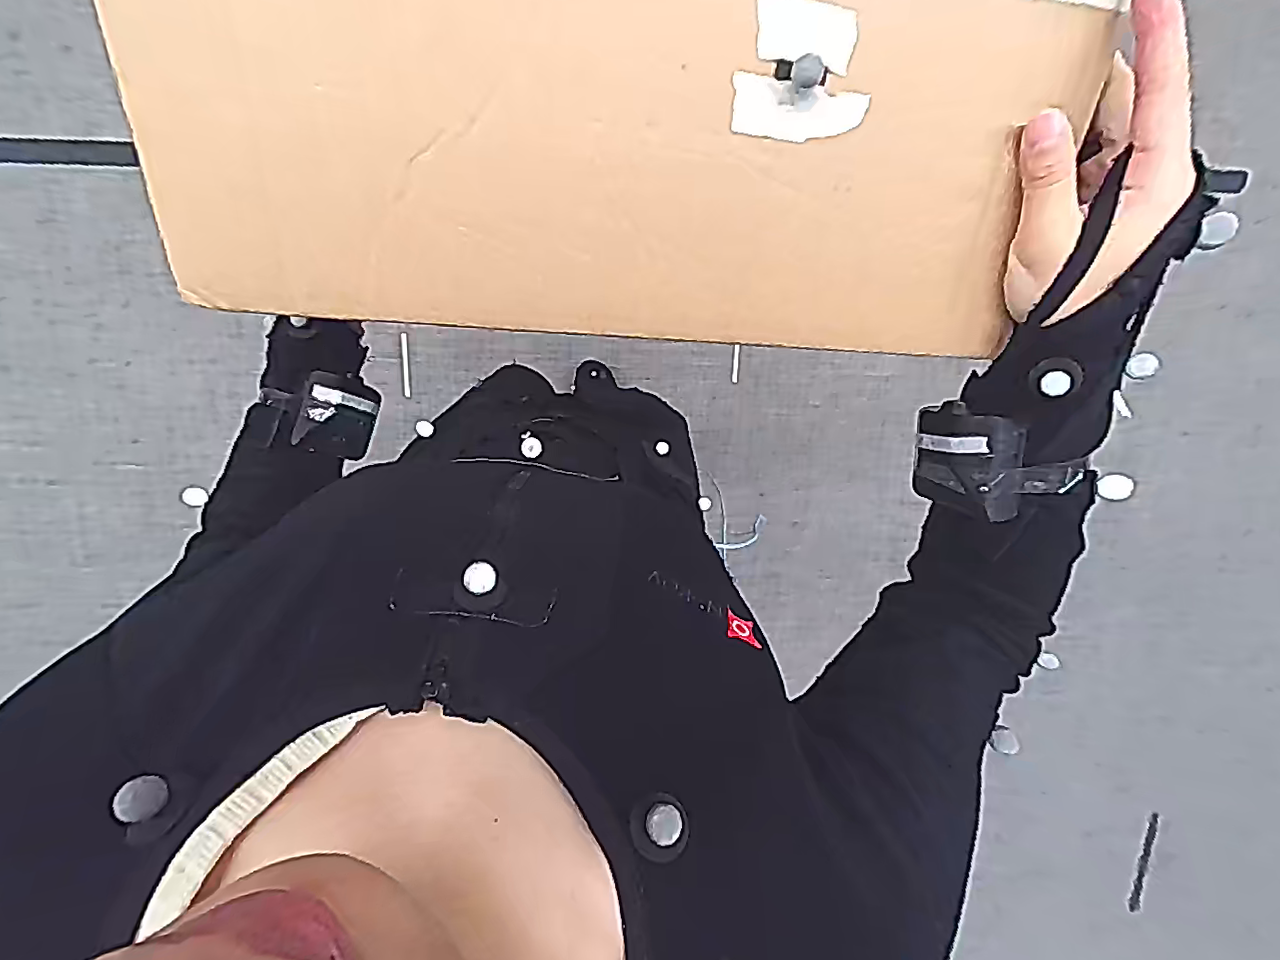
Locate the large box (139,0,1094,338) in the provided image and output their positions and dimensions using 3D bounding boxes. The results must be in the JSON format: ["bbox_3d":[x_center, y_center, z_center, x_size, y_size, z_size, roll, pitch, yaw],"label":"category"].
[{"bbox_3d":[-0.011,-0.281,0.352,0.408,0.320,0.320,1,115,-7],"label":"large box"}]
